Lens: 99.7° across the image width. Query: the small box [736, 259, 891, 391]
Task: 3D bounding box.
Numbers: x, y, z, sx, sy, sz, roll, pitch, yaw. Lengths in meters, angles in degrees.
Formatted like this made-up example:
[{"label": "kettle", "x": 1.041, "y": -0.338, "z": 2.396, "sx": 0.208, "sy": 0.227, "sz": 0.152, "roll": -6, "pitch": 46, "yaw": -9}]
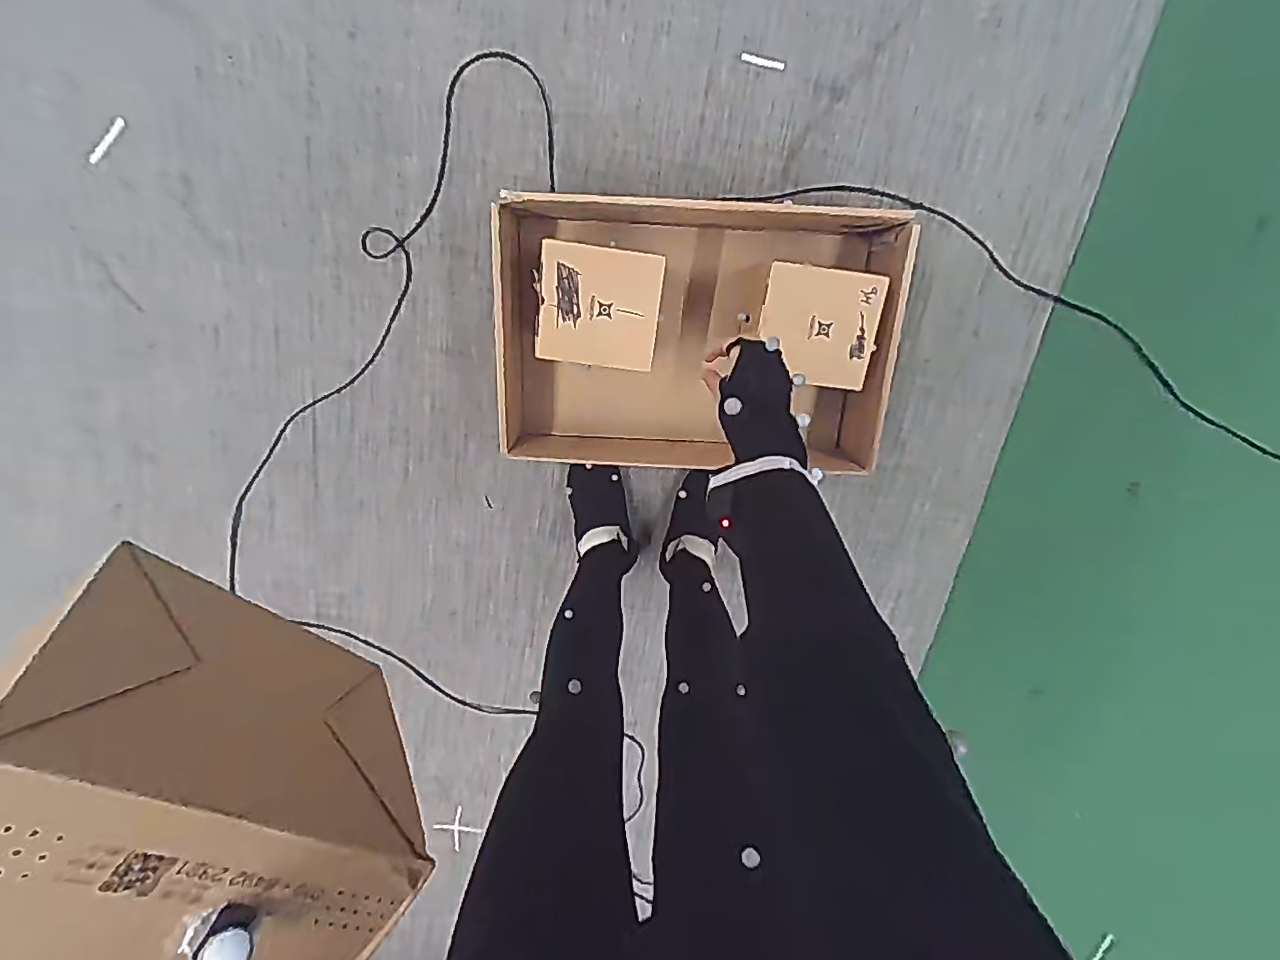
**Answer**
[{"label": "small box", "x": 0.261, "y": -0.246, "z": 0.866, "sx": 0.179, "sy": 0.176, "sz": 0.168, "roll": 8, "pitch": 108, "yaw": -3}]
